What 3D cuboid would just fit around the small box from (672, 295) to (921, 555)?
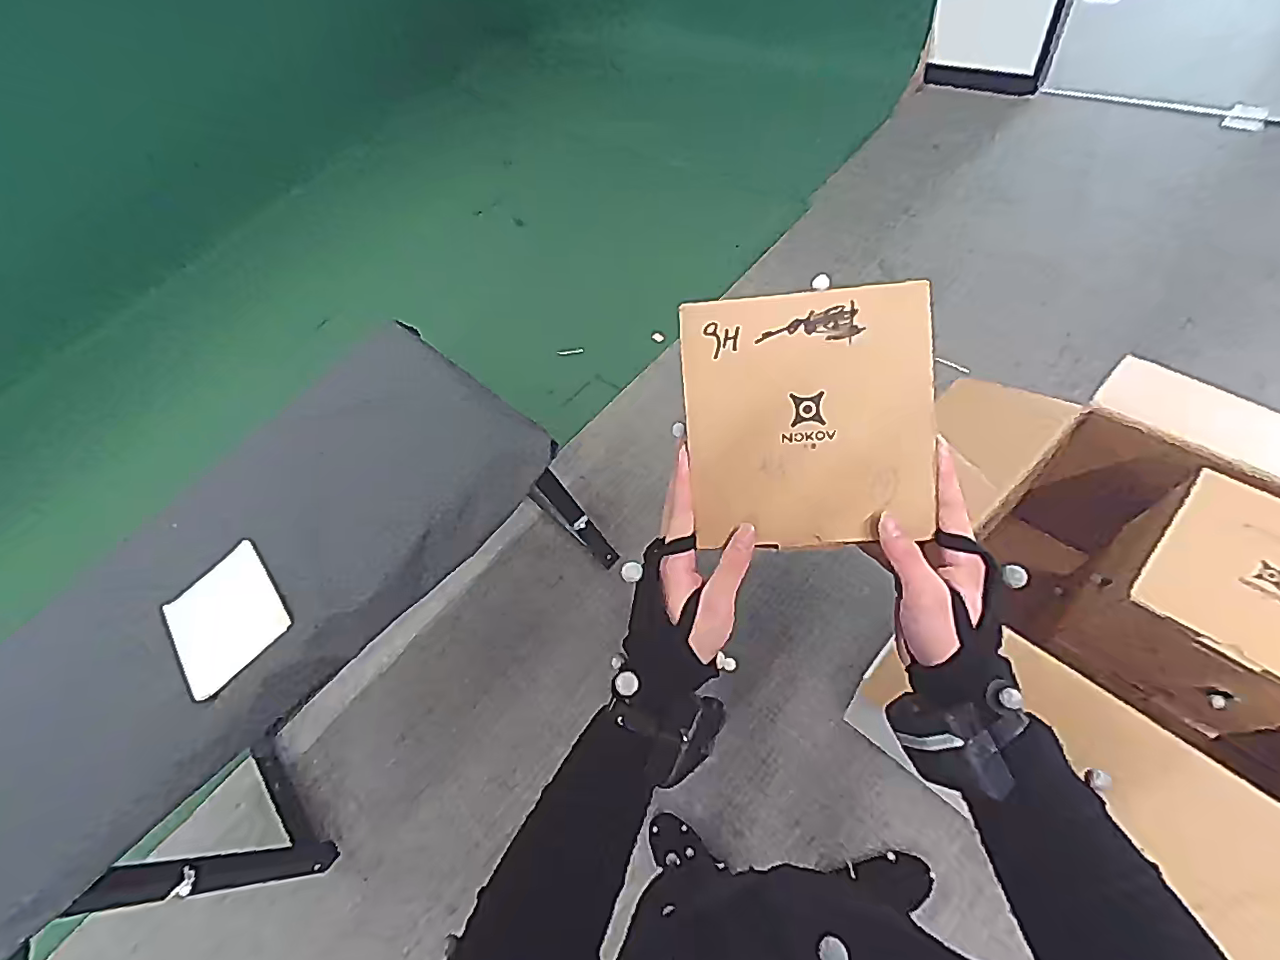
[{"bbox_3d":[0.117,-0.045,0.454,0.168,0.176,0.179,-3,98,6],"label":"small box"}]
